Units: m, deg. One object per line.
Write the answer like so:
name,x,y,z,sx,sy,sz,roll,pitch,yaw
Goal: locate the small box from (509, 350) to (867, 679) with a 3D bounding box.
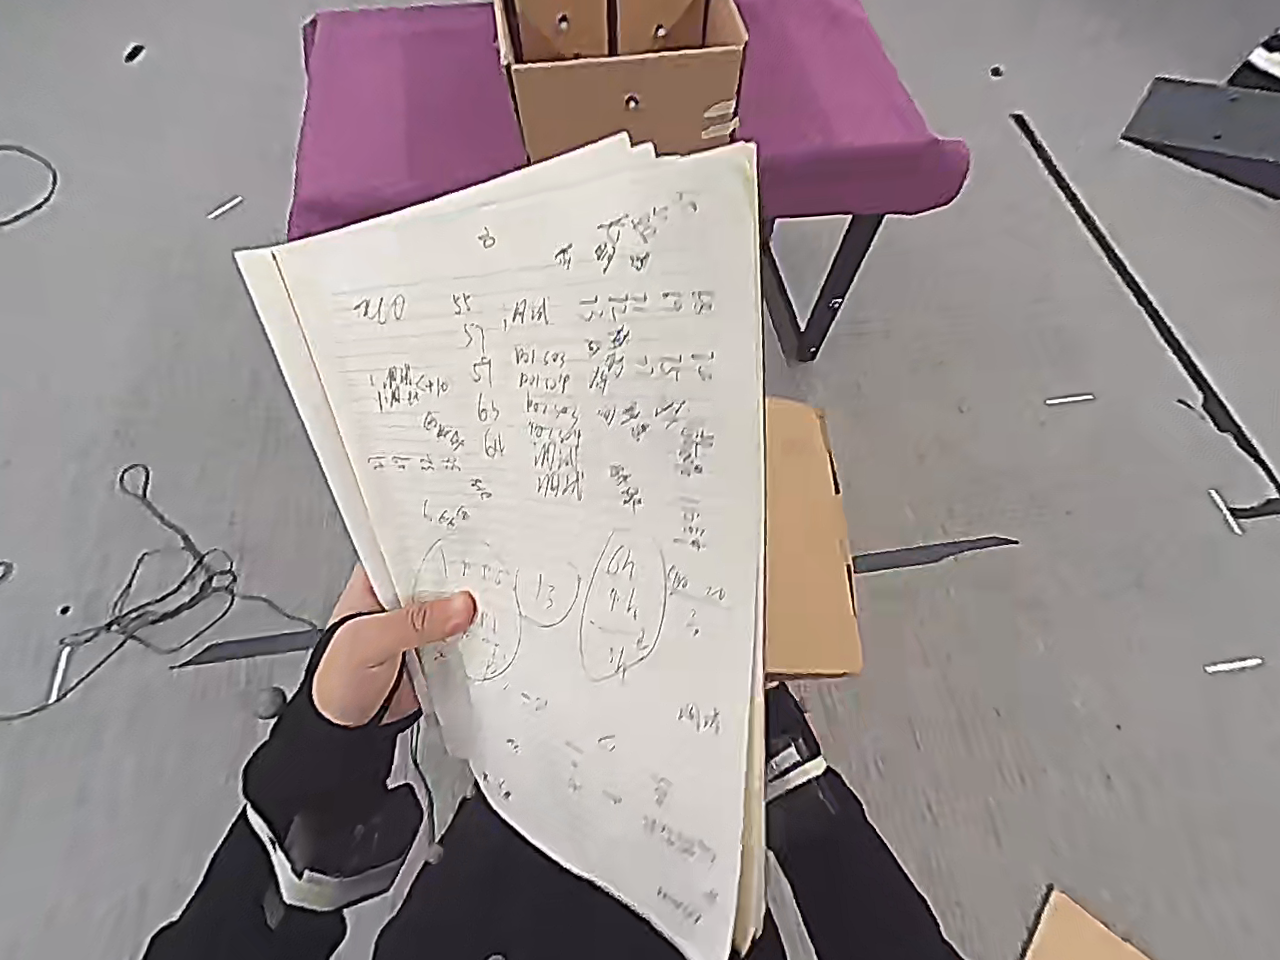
small box,0.016,0.041,0.366,0.179,0.176,0.168,7,66,-17
